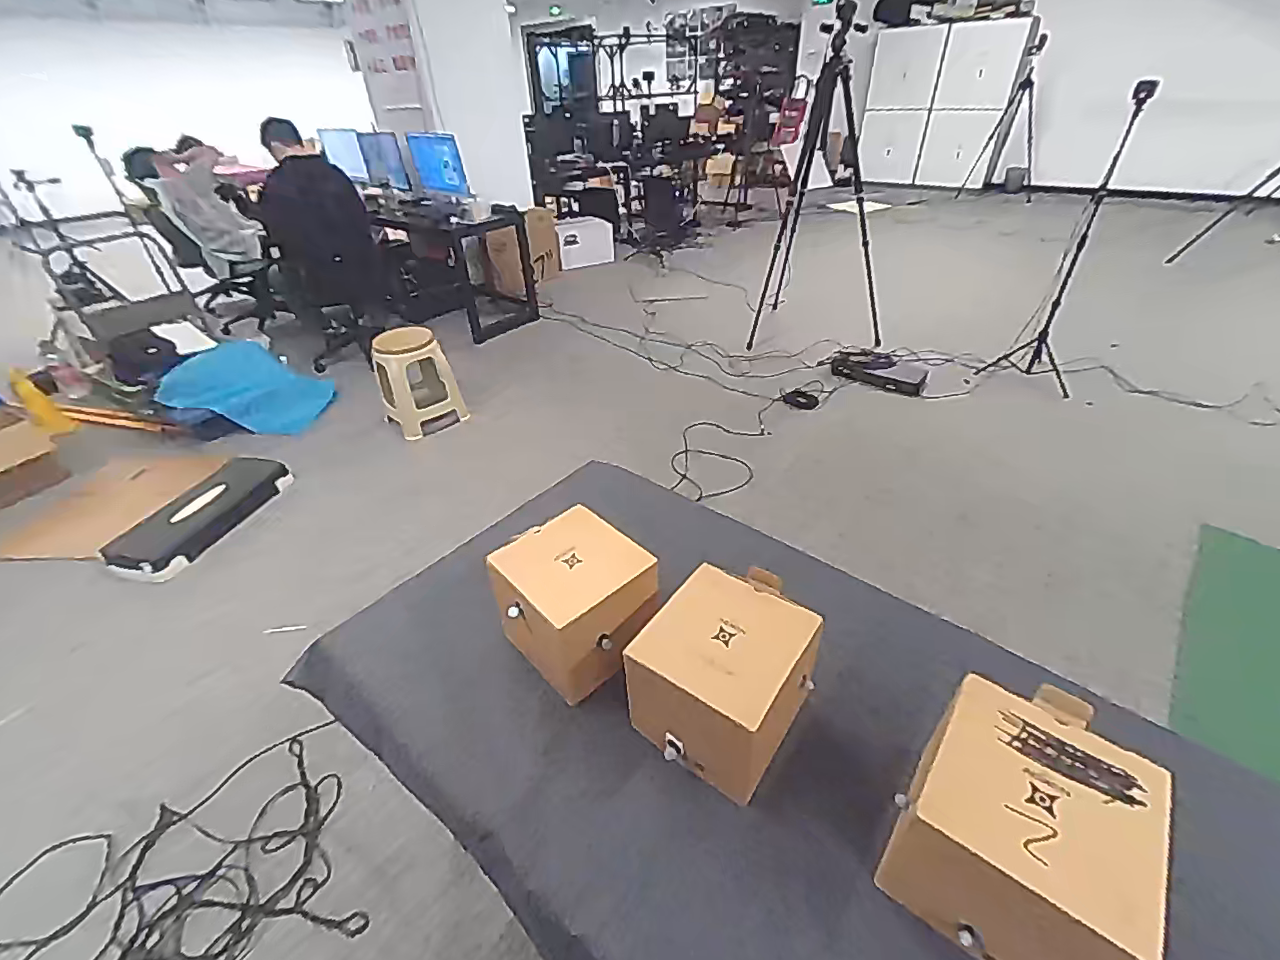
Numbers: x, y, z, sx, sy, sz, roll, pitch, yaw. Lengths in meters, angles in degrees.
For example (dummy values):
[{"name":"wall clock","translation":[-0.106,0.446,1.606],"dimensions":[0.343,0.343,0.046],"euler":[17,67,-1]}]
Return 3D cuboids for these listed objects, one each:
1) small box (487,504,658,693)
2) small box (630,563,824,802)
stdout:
[{"name":"small box","translation":[-0.088,0.171,0.769],"dimensions":[0.168,0.176,0.179],"euler":[-30,44,-33]},{"name":"small box","translation":[0.104,0.241,0.662],"dimensions":[0.168,0.176,0.179],"euler":[21,42,30]}]
